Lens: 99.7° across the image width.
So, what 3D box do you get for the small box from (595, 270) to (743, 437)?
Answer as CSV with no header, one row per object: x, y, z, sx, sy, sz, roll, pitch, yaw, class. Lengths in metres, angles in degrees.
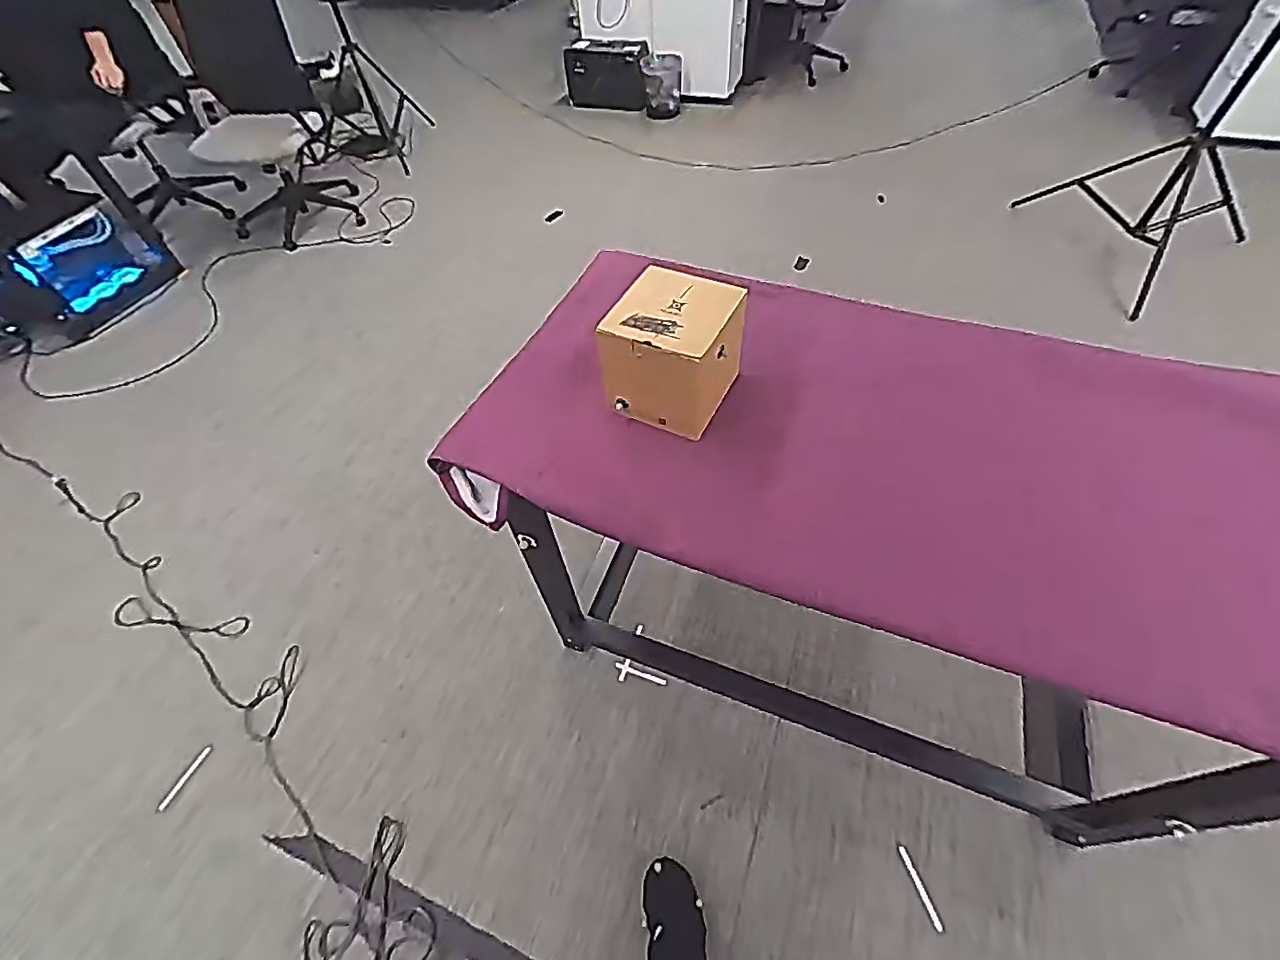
0.051,-0.195,0.851,0.168,0.176,0.179,21,57,18,small box
